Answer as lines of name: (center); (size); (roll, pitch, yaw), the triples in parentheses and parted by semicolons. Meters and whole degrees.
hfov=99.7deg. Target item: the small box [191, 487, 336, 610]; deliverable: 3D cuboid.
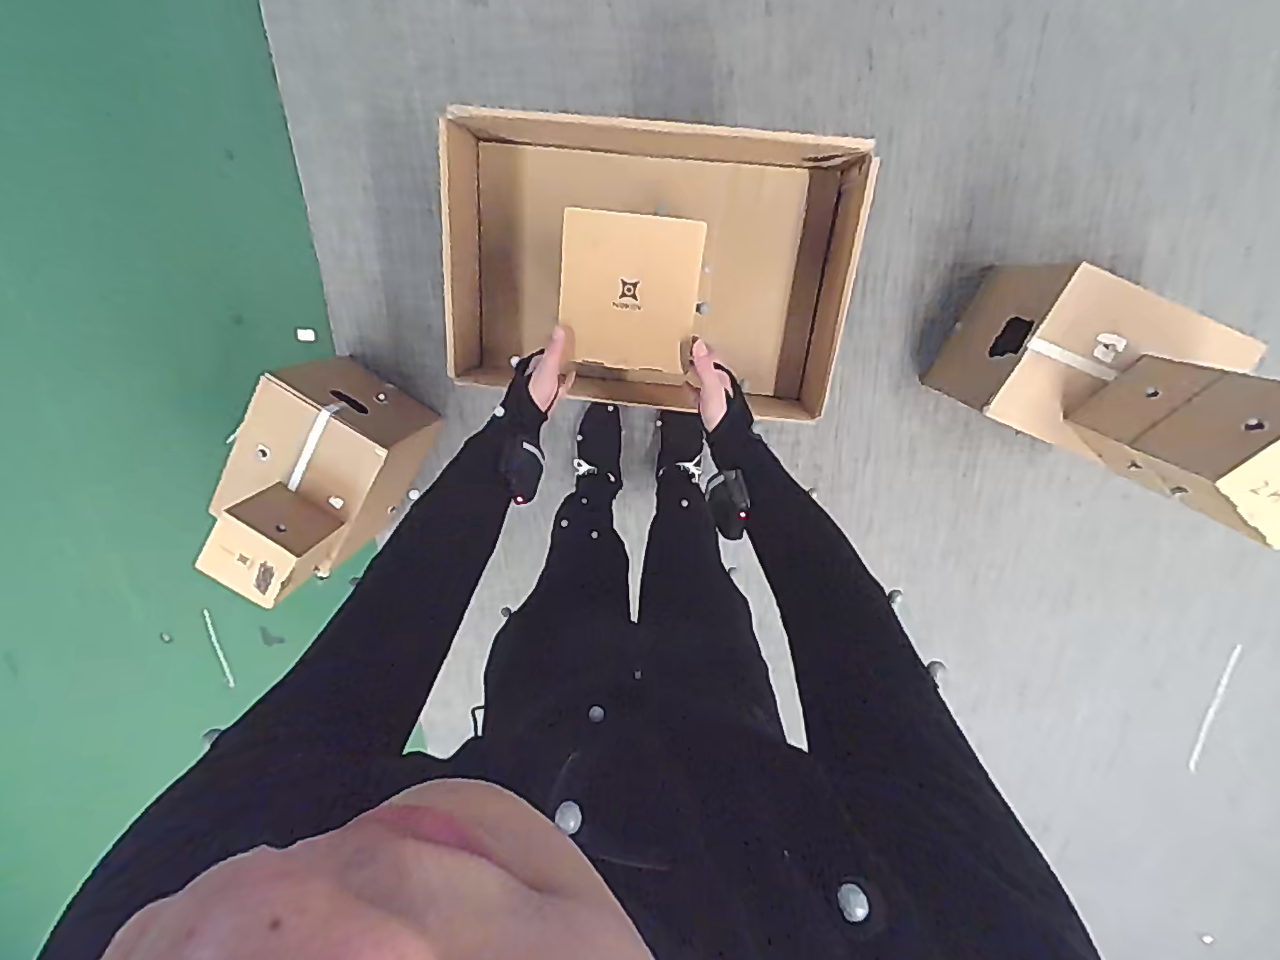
small box: (-0.816, 0.143, 1.191); (0.179, 0.176, 0.168); (36, 108, -10)

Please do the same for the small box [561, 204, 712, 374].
small box: (-0.003, -0.248, 0.711); (0.168, 0.176, 0.179); (7, 112, 2)

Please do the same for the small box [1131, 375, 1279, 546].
small box: (0.936, -0.039, 0.832); (0.168, 0.176, 0.179); (40, 110, -10)

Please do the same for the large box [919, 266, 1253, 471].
large box: (0.930, -0.246, 1.195); (0.408, 0.320, 0.320); (22, 110, -3)

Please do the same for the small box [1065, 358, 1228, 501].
small box: (0.945, -0.100, 0.986); (0.168, 0.176, 0.179); (41, 109, -11)
